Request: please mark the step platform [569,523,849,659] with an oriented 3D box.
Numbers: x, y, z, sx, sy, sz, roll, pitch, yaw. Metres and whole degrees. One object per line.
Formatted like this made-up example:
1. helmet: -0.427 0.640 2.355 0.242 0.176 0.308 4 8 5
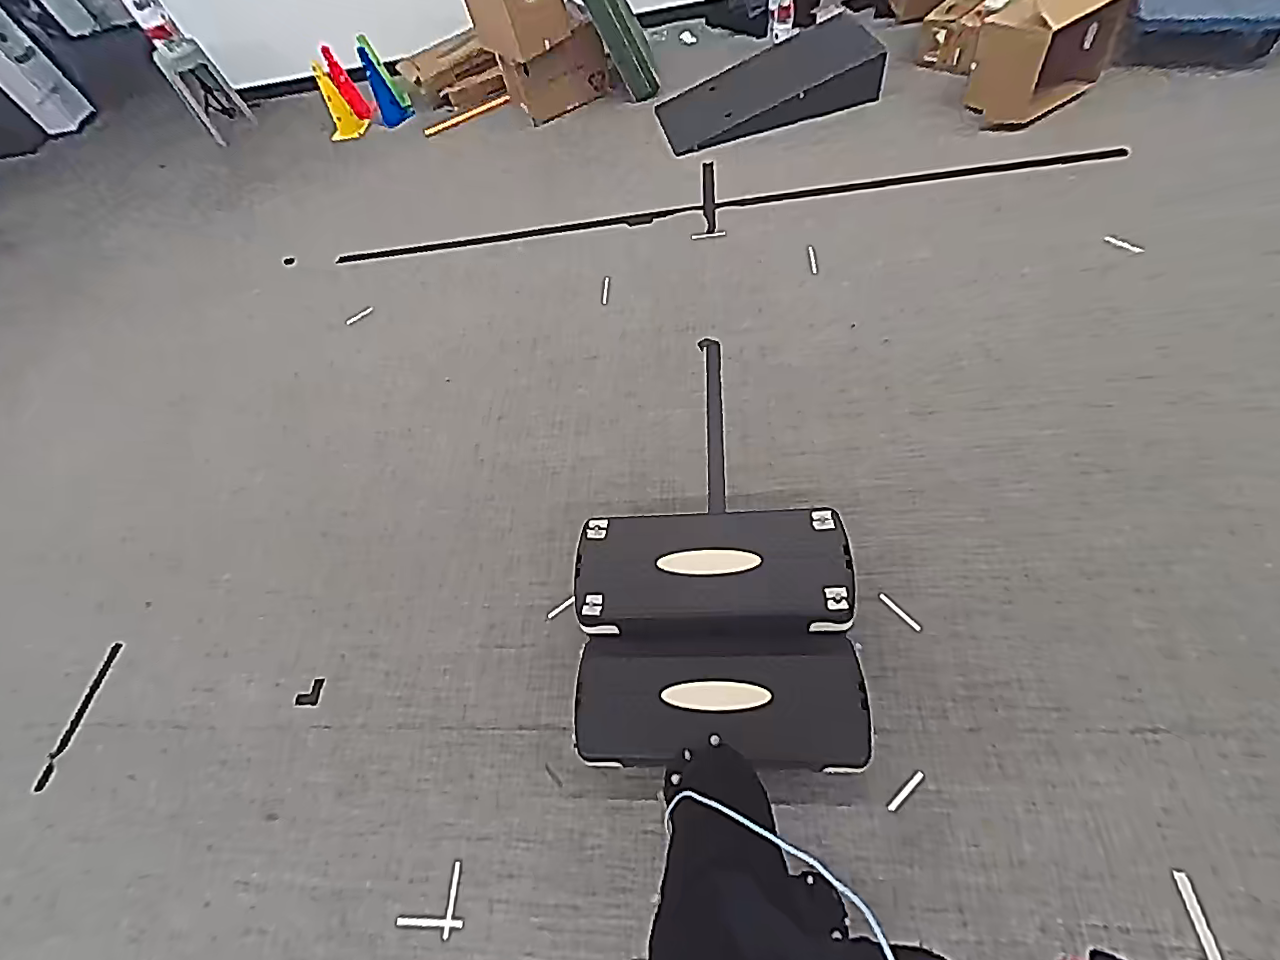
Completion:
1. step platform: 0.163 0.282 1.371 0.684 0.204 0.286 -4 59 8
